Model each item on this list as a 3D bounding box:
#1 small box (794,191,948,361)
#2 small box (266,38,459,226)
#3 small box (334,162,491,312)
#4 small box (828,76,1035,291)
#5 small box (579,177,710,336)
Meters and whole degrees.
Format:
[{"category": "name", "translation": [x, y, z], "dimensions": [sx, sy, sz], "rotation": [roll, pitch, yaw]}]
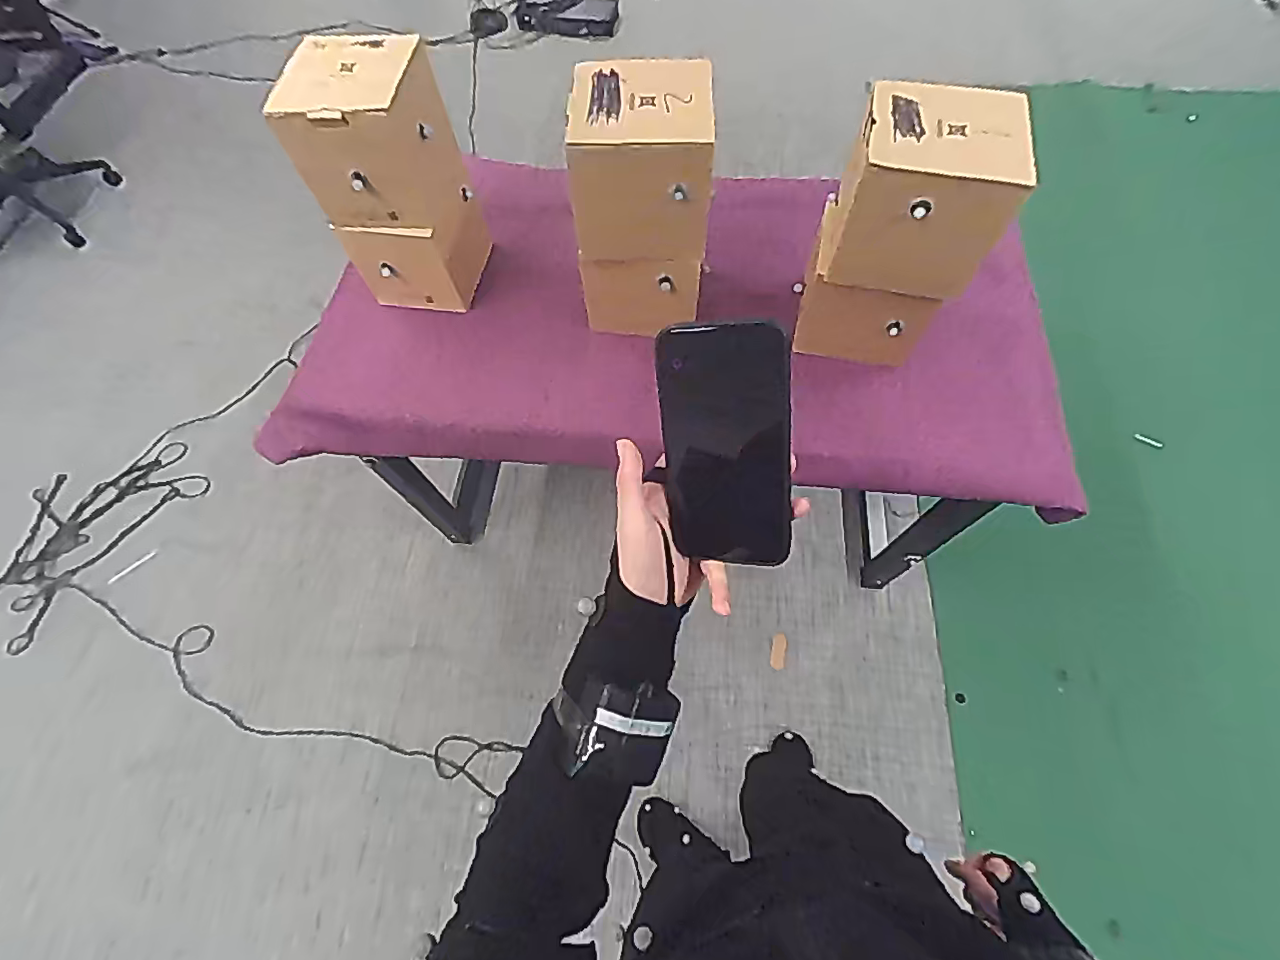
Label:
[{"category": "small box", "translation": [0.348, -0.304, 0.827], "dimensions": [0.179, 0.176, 0.168], "rotation": [11, 65, 10]}, {"category": "small box", "translation": [-0.378, -0.489, 0.775], "dimensions": [0.168, 0.176, 0.179], "rotation": [2, 65, 4]}, {"category": "small box", "translation": [-0.371, -0.409, 0.919], "dimensions": [0.168, 0.176, 0.179], "rotation": [6, 65, 6]}, {"category": "small box", "translation": [0.345, -0.361, 0.673], "dimensions": [0.179, 0.176, 0.168], "rotation": [11, 65, 8]}, {"category": "small box", "translation": [0.013, -0.352, 0.868], "dimensions": [0.179, 0.176, 0.168], "rotation": [6, 64, 6]}]
